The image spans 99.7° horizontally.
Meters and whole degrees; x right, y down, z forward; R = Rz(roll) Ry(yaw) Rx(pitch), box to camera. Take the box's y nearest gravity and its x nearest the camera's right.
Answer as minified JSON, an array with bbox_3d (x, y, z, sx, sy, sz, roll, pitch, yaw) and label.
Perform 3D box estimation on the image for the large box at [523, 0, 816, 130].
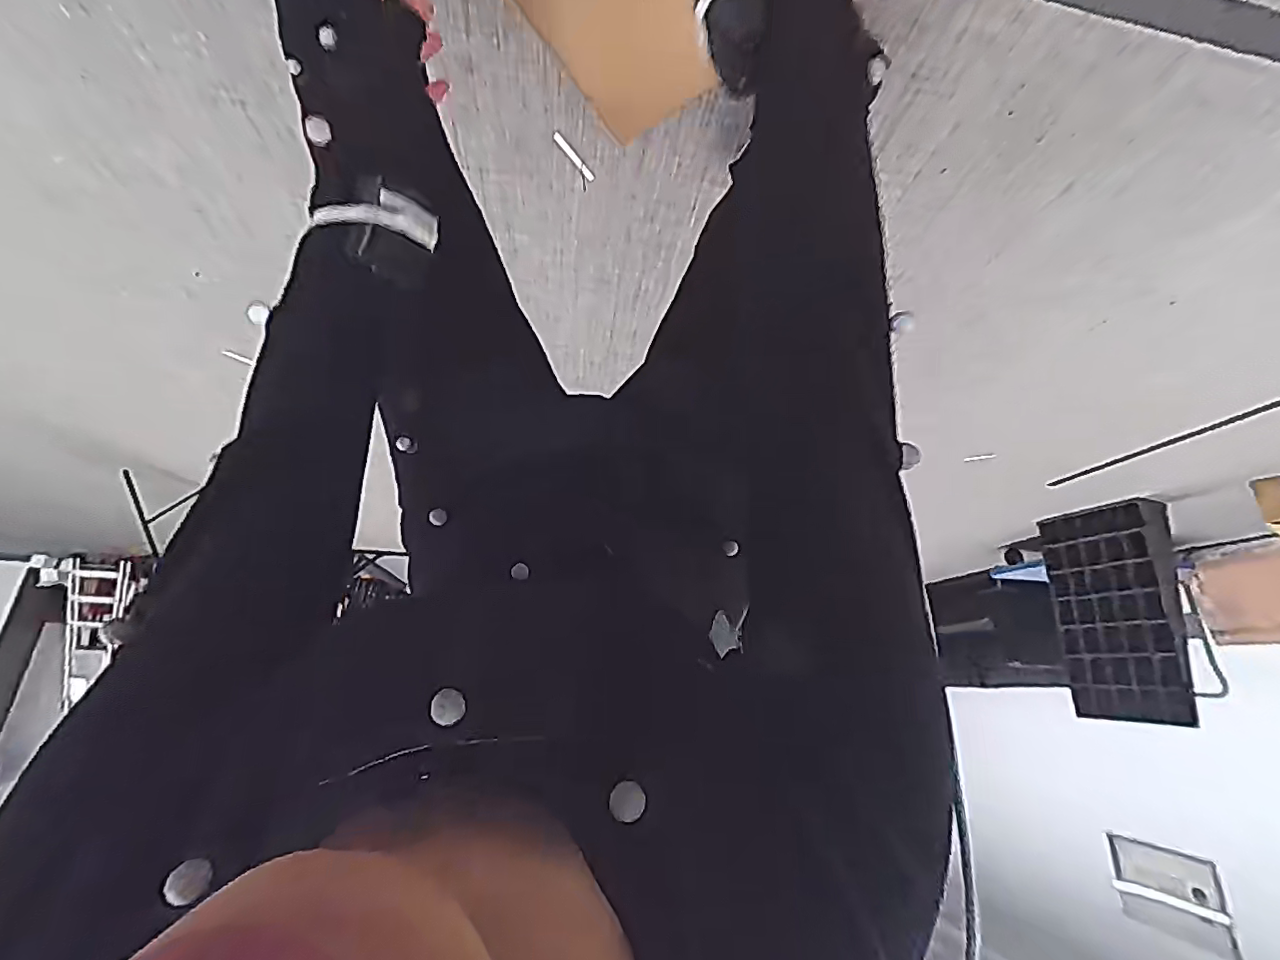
[{"bbox_3d":[0.066,-0.592,0.423,0.408,0.320,0.320,-11,150,35],"label":"large box"}]
